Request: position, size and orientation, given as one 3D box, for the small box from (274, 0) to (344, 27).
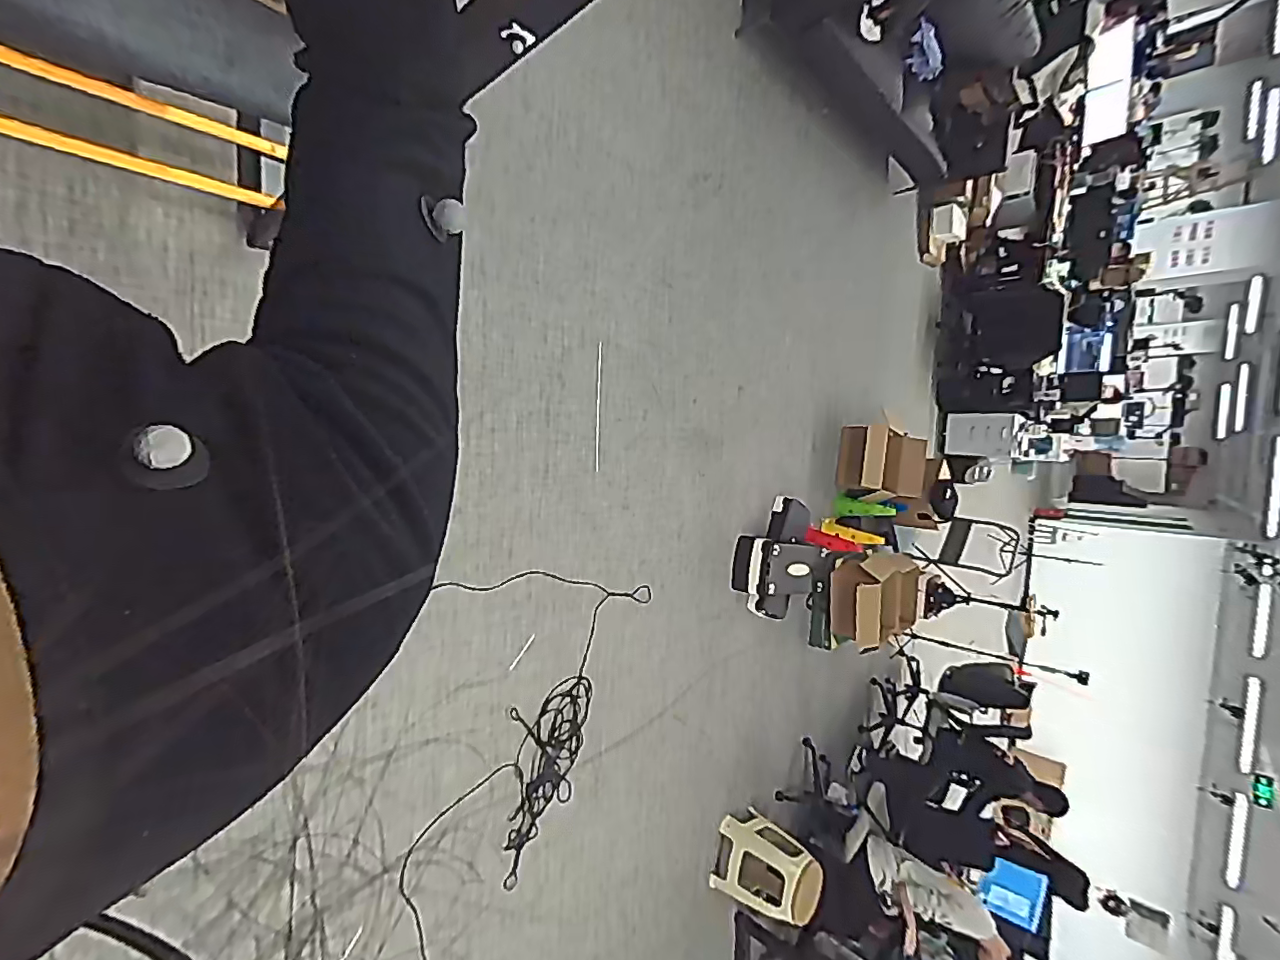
[{"bbox_3d":[-0.384,-0.640,0.564,0.168,0.176,0.179,3,92,-48],"label":"small box"}]
